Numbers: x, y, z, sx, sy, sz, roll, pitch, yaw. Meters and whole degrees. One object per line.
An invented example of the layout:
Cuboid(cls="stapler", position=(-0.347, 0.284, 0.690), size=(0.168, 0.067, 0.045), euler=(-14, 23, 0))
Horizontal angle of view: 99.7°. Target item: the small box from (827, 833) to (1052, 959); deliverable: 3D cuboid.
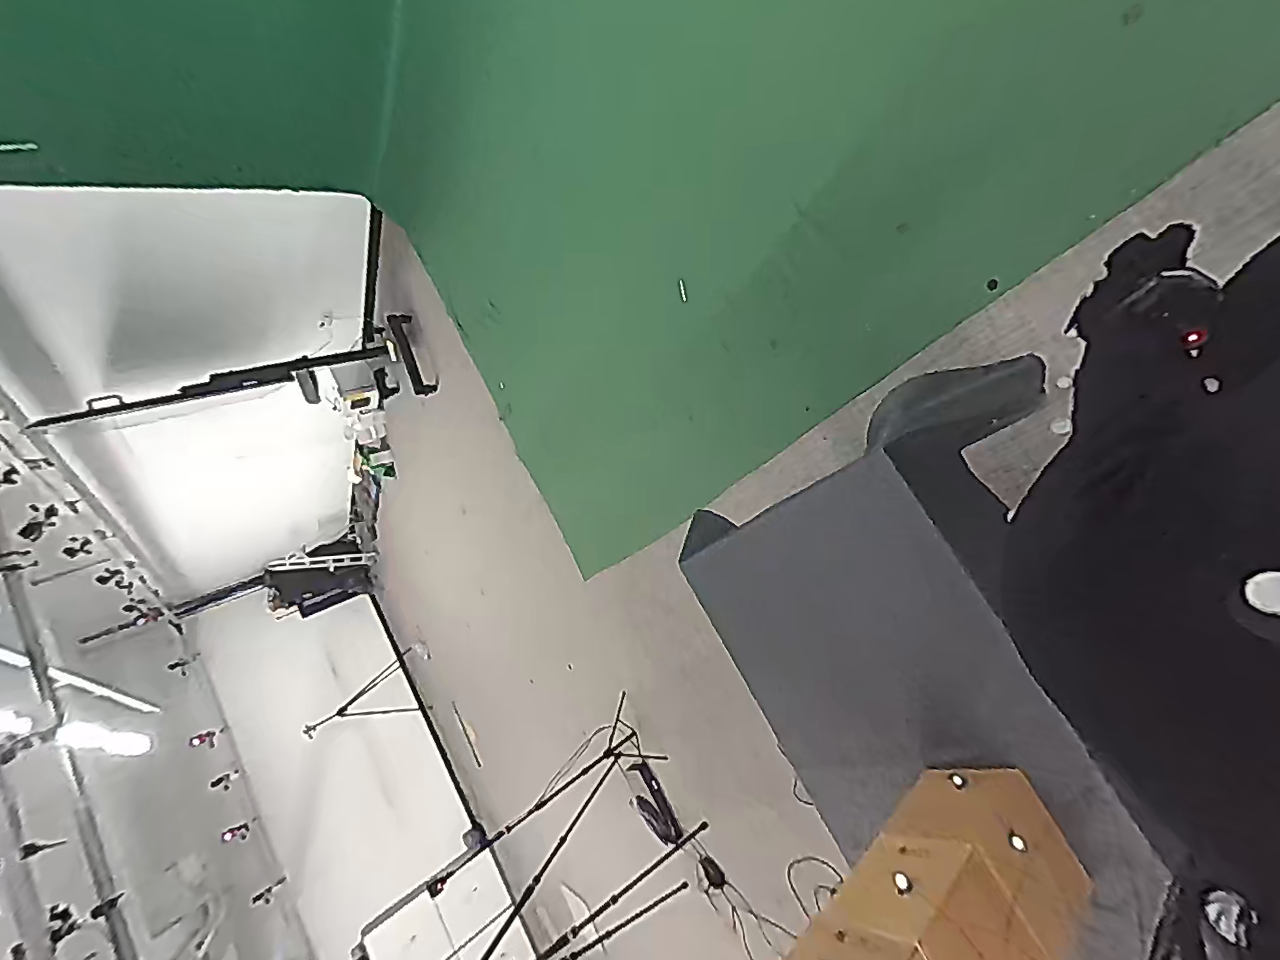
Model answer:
Cuboid(cls="small box", position=(0.393, 0.605, 0.713), size=(0.179, 0.176, 0.168), euler=(60, 143, 11))

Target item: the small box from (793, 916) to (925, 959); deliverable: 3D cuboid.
Cuboid(cls="small box", position=(0.268, 0.658, 0.621), size=(0.179, 0.176, 0.168), euler=(62, 144, 10))
